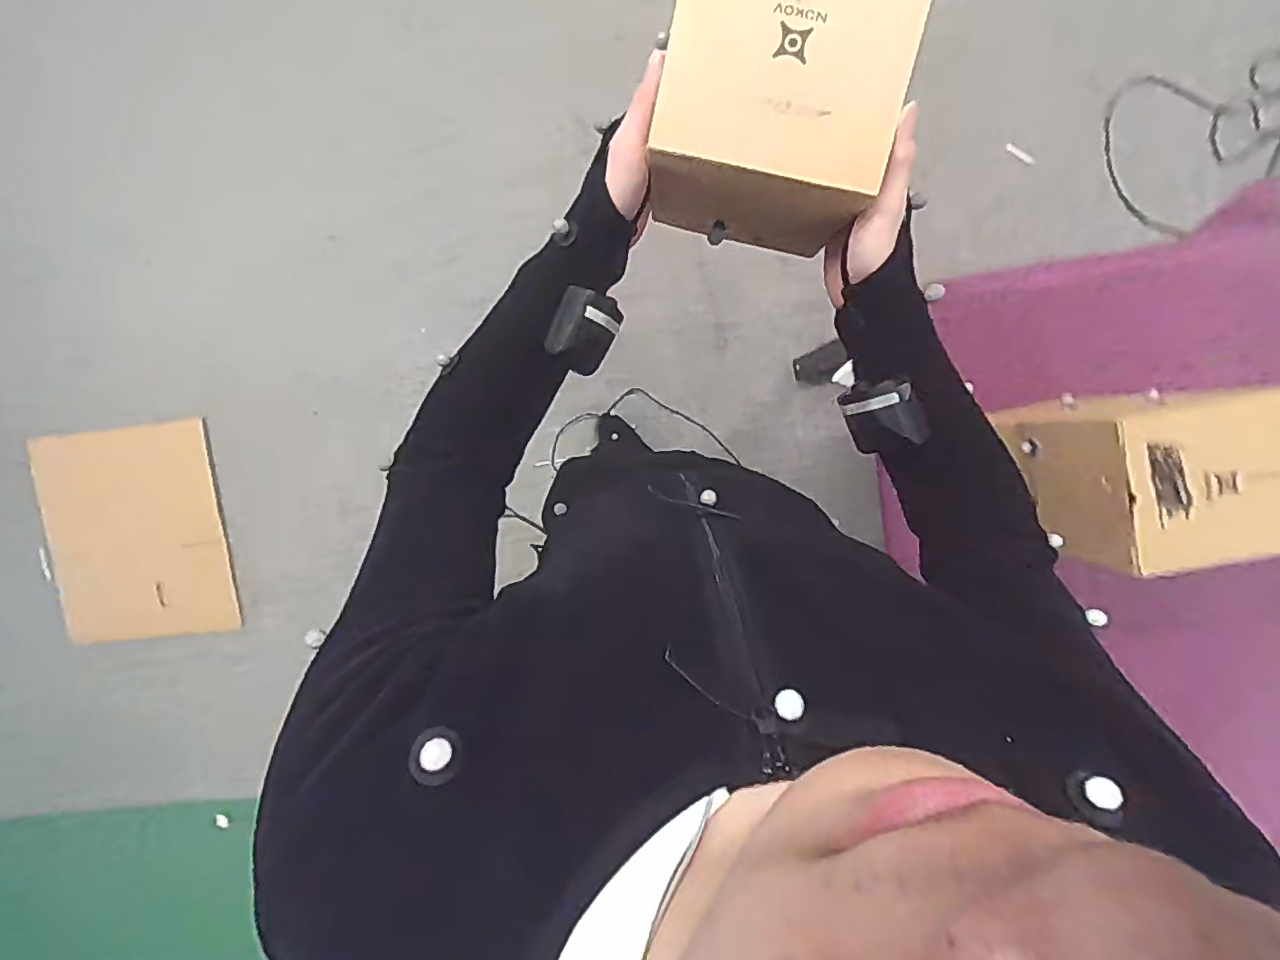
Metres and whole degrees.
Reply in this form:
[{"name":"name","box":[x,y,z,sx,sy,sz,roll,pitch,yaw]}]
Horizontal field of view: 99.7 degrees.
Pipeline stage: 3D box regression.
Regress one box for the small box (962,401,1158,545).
[{"name":"small box","box":[0.593,-0.013,0.777,0.179,0.176,0.168,-11,94,4]}]

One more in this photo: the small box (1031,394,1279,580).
[{"name":"small box","box":[0.582,0.003,0.614,0.179,0.176,0.168,-10,95,3]}]

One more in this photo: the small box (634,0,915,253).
[{"name":"small box","box":[0.095,-0.308,0.435,0.168,0.176,0.179,12,99,1]}]
